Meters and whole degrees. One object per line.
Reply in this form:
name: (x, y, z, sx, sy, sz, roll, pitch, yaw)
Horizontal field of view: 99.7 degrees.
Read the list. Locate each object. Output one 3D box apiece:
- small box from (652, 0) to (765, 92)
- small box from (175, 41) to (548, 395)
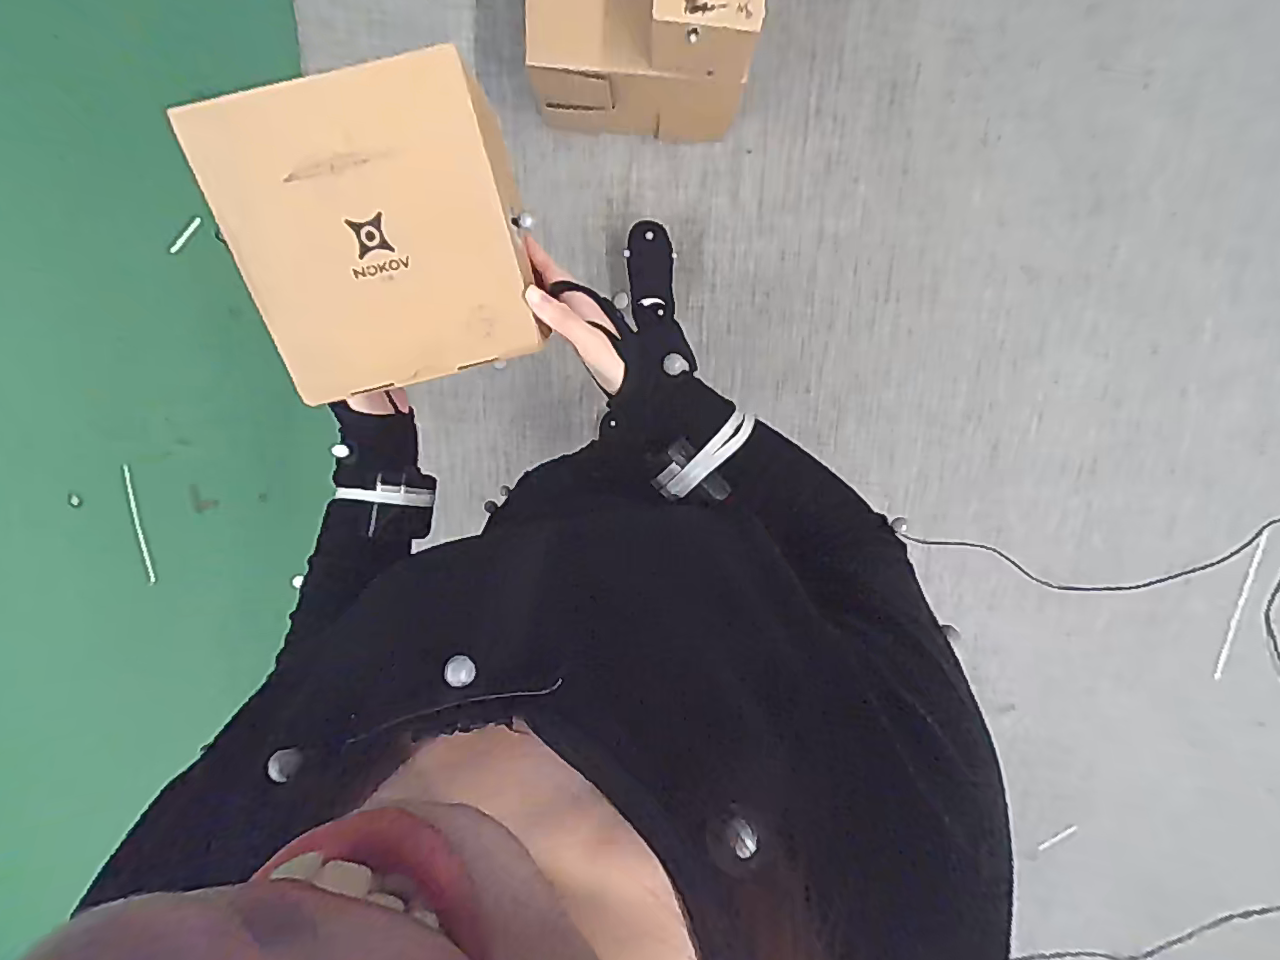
small box: (0.110, -0.768, 0.866, 0.168, 0.176, 0.179, 7, 104, 0)
small box: (-0.172, -0.181, 0.407, 0.168, 0.176, 0.179, -13, 111, -1)
